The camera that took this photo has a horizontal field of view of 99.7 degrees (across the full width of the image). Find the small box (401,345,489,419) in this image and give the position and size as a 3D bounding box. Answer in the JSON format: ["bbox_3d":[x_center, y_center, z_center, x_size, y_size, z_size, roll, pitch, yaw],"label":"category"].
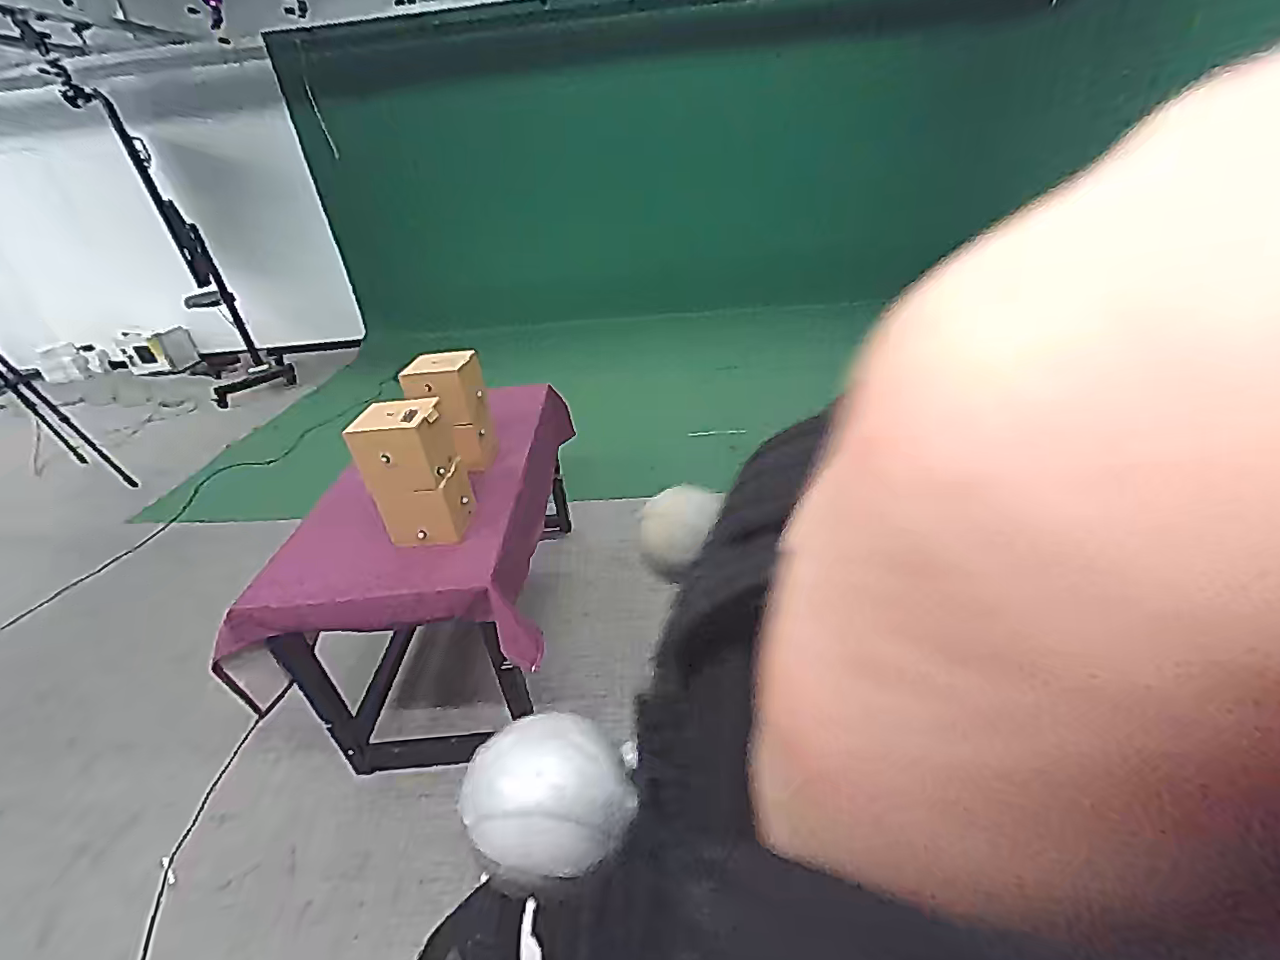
[{"bbox_3d":[-0.570,-0.289,1.607,0.179,0.176,0.168,-3,33,5],"label":"small box"}]

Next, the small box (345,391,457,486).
[{"bbox_3d":[-0.566,-0.099,1.312,0.179,0.176,0.168,-4,32,5],"label":"small box"}]

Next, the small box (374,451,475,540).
[{"bbox_3d":[-0.544,0.040,1.398,0.179,0.176,0.168,-3,32,3],"label":"small box"}]
